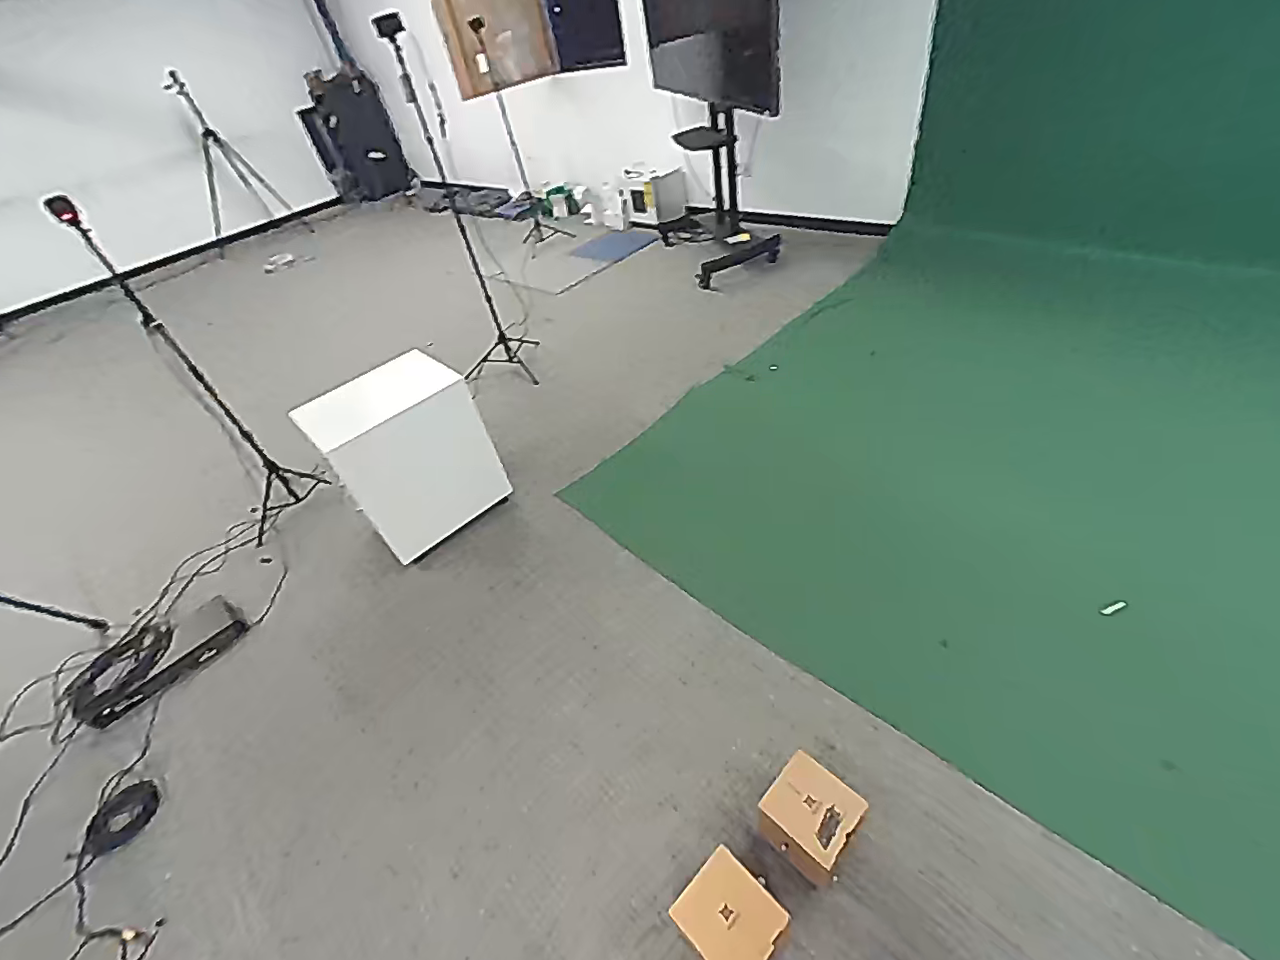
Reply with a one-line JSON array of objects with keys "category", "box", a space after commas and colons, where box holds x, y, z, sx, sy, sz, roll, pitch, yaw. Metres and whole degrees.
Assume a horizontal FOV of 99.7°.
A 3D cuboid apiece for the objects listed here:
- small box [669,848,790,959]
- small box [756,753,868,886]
[{"category": "small box", "box": [0.181, 0.902, 1.091, 0.168, 0.176, 0.179, -37, 47, -27]}, {"category": "small box", "box": [0.379, 0.761, 1.205, 0.168, 0.176, 0.179, -38, 47, -27]}]
